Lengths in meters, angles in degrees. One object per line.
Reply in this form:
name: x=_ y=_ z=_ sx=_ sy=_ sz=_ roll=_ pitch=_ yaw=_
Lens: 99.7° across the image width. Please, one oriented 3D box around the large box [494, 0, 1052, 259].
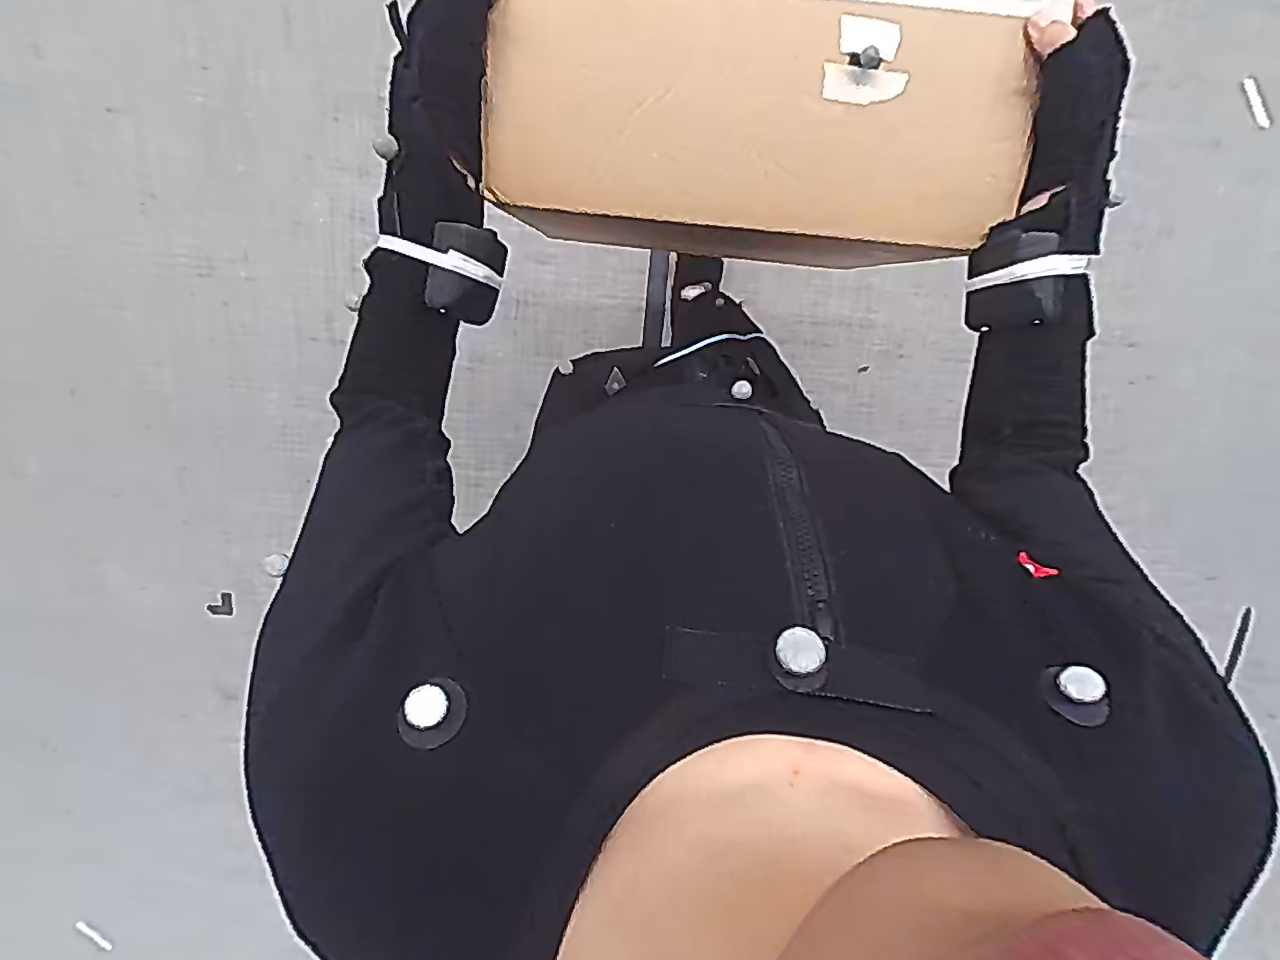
large box: x=0.092 y=-0.401 z=0.520 sx=0.408 sy=0.320 sz=0.320 roll=5 pitch=110 yaw=-3
